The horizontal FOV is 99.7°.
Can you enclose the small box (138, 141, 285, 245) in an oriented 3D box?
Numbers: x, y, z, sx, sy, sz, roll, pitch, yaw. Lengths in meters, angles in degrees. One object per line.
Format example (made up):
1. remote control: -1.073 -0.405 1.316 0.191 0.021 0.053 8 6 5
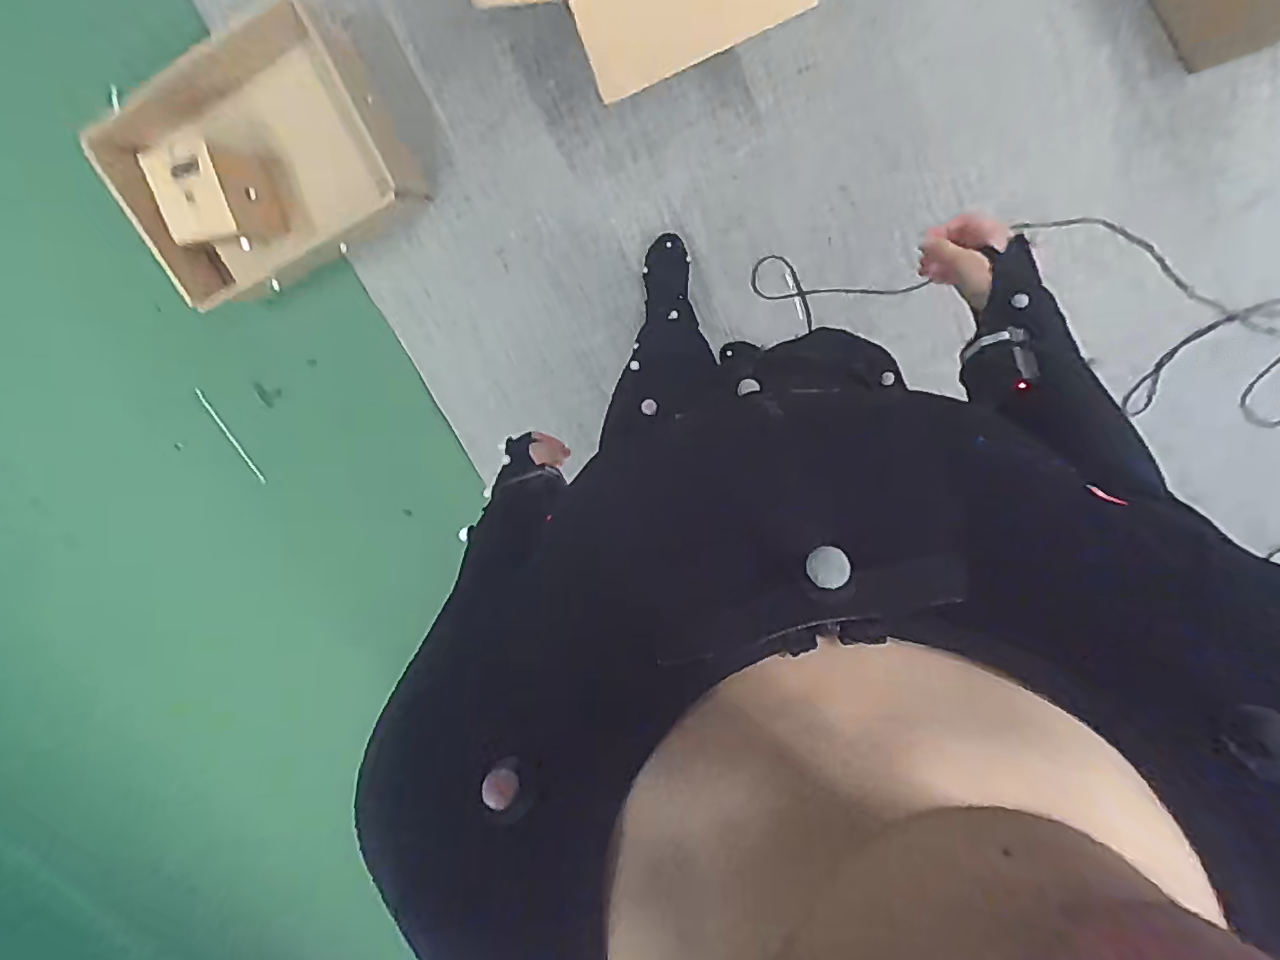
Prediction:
1. small box: -0.967 -0.647 1.239 0.168 0.176 0.179 -7 111 8
